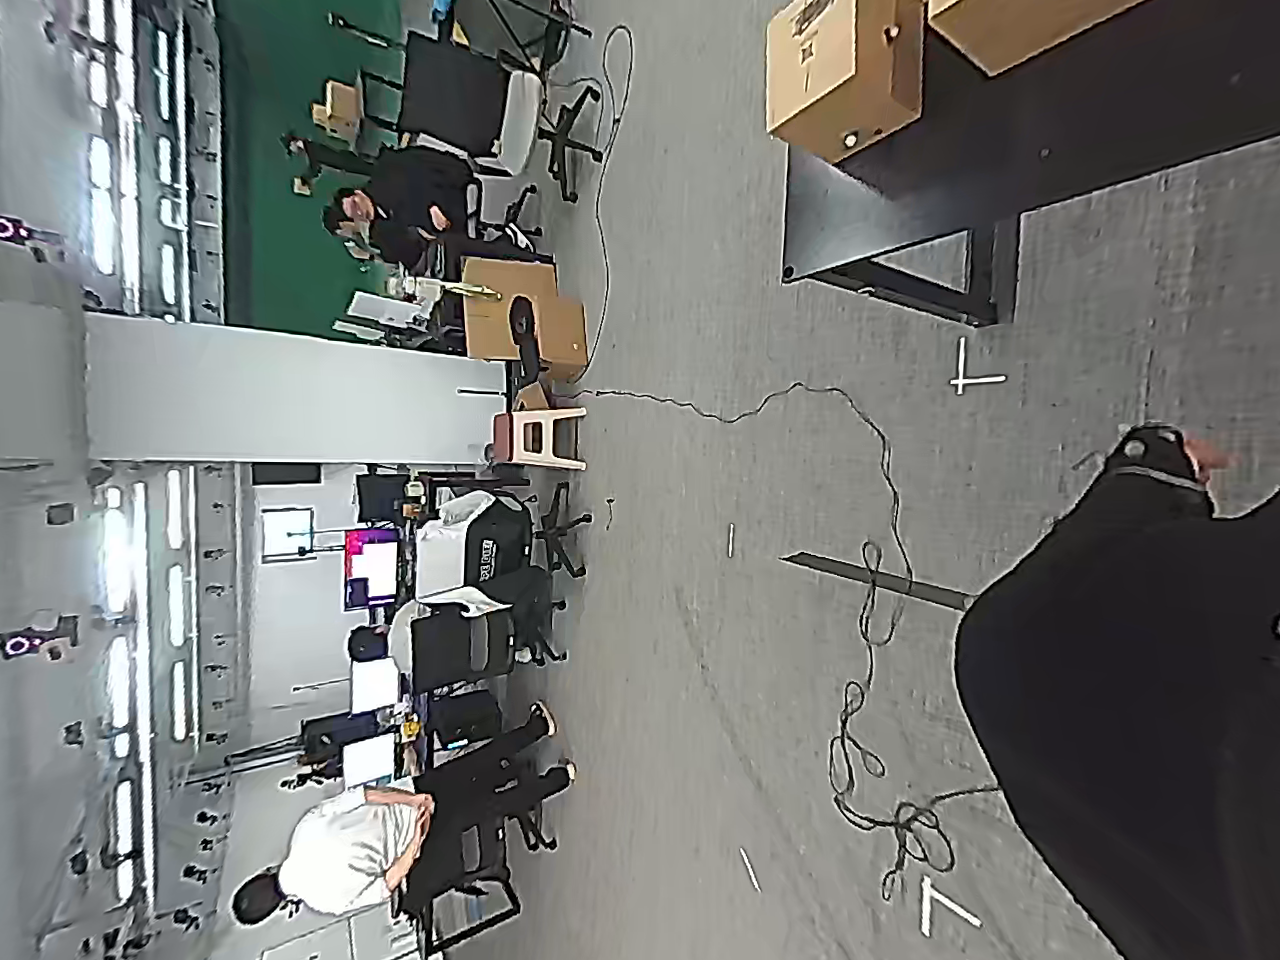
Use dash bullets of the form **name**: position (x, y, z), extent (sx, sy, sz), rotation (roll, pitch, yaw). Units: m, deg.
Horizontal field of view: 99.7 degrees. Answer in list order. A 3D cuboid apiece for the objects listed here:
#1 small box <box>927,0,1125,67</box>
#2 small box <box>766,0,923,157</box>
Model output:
- **small box**: position (0.462, -0.632, 0.619), extent (0.179, 0.176, 0.168), rotation (6, 95, 56)
- **small box**: position (0.318, -0.648, 0.843), extent (0.168, 0.176, 0.179), rotation (4, 95, 57)
